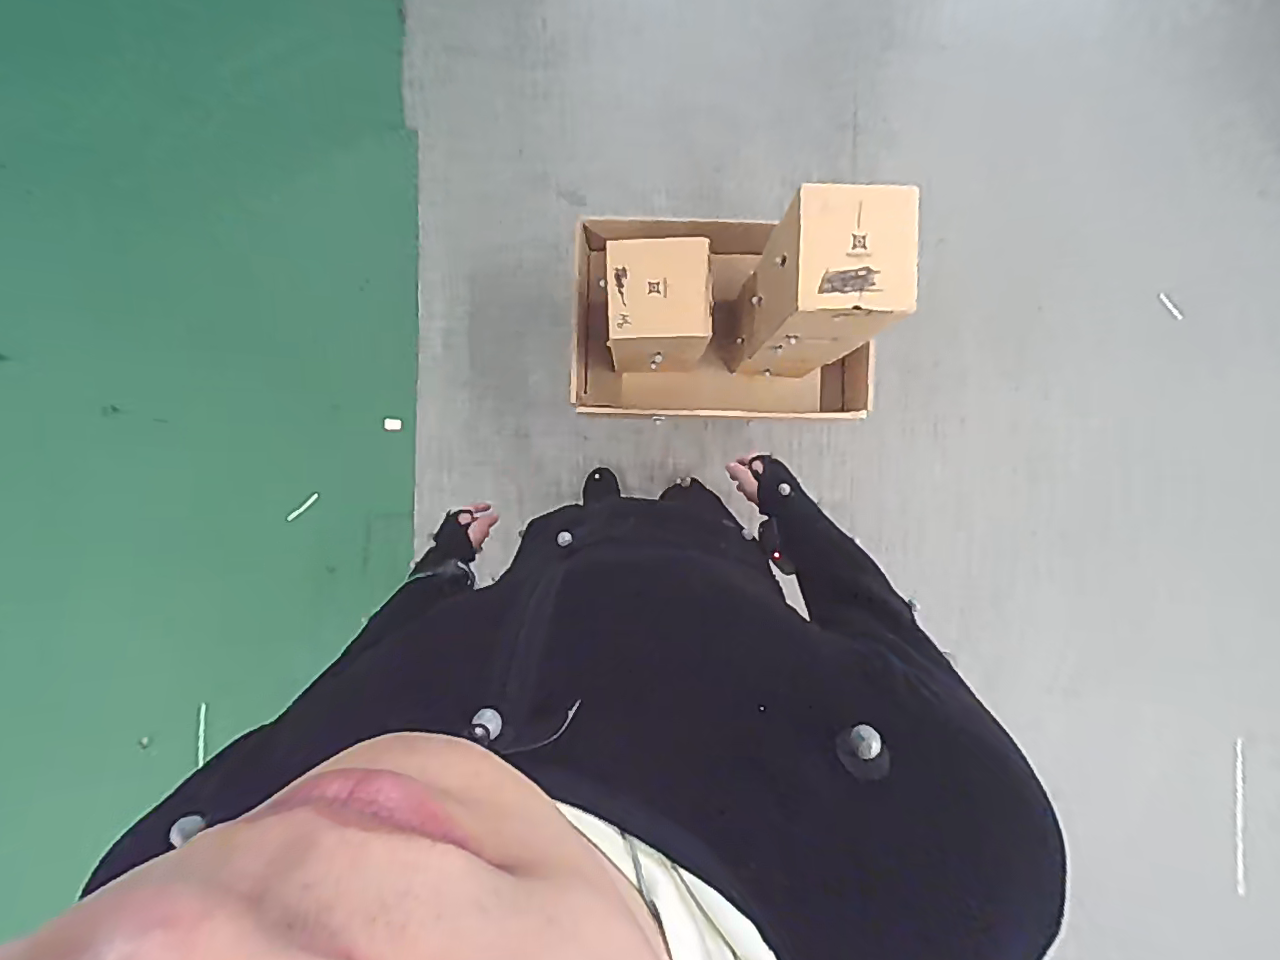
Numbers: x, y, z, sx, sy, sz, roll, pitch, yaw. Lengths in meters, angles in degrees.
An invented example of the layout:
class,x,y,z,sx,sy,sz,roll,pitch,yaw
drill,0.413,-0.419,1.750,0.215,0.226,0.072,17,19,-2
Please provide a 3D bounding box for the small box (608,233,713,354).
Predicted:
class,x,y,z,sx,sy,sz,roll,pitch,yaw
small box,0.033,-0.329,0.978,0.179,0.176,0.168,-1,91,-1

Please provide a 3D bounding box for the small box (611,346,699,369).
class,x,y,z,sx,sy,sz,roll,pitch,yaw
small box,0.031,-0.332,1.142,0.179,0.176,0.168,1,91,-2

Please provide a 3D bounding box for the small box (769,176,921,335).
class,x,y,z,sx,sy,sz,roll,pitch,yaw
small box,0.297,-0.324,0.814,0.168,0.176,0.179,2,90,0
